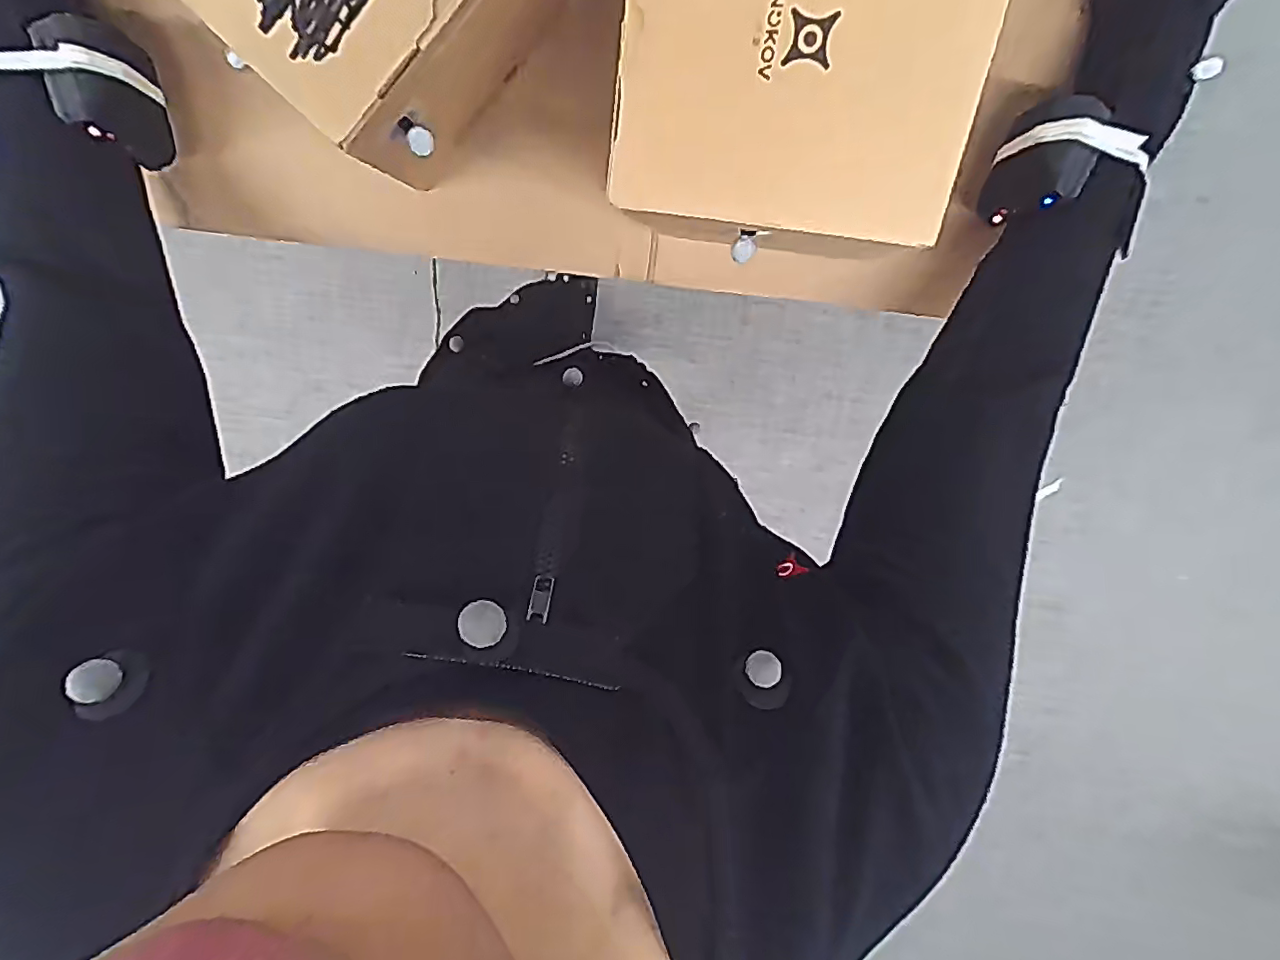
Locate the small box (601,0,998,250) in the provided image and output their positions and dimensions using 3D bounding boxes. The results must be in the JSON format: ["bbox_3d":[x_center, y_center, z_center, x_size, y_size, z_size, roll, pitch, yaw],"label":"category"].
[{"bbox_3d":[0.090,-0.243,0.333,0.179,0.176,0.168,12,111,8],"label":"small box"}]
